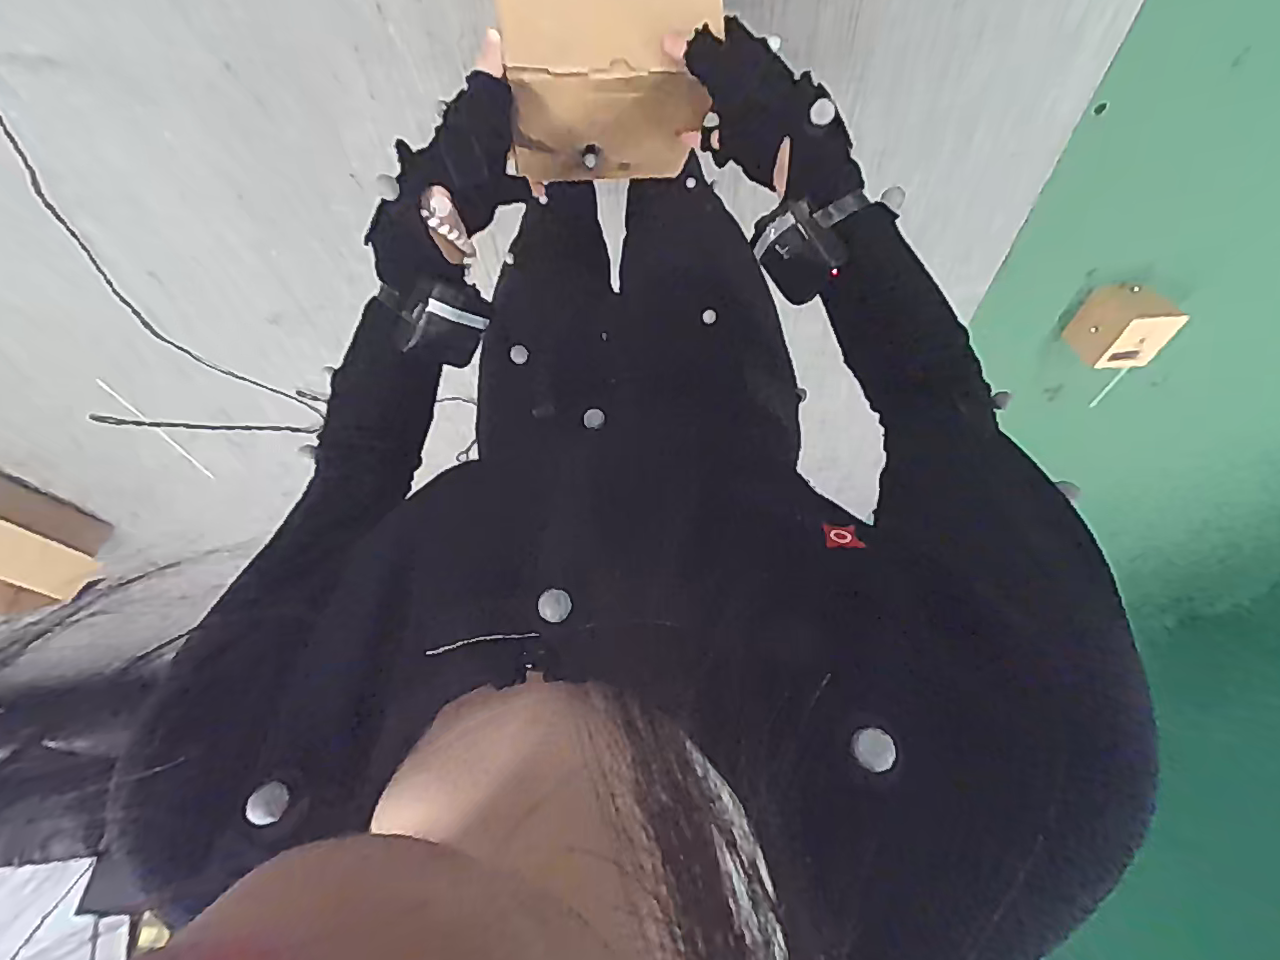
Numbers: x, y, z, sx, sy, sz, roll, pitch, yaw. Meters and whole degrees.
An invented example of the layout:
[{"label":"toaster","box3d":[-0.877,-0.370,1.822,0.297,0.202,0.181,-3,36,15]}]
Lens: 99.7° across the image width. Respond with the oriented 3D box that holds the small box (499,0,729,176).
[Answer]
[{"label":"small box","box3d":[-0.034,-0.389,0.463,0.168,0.179,0.176,-7,-172,-9]}]
